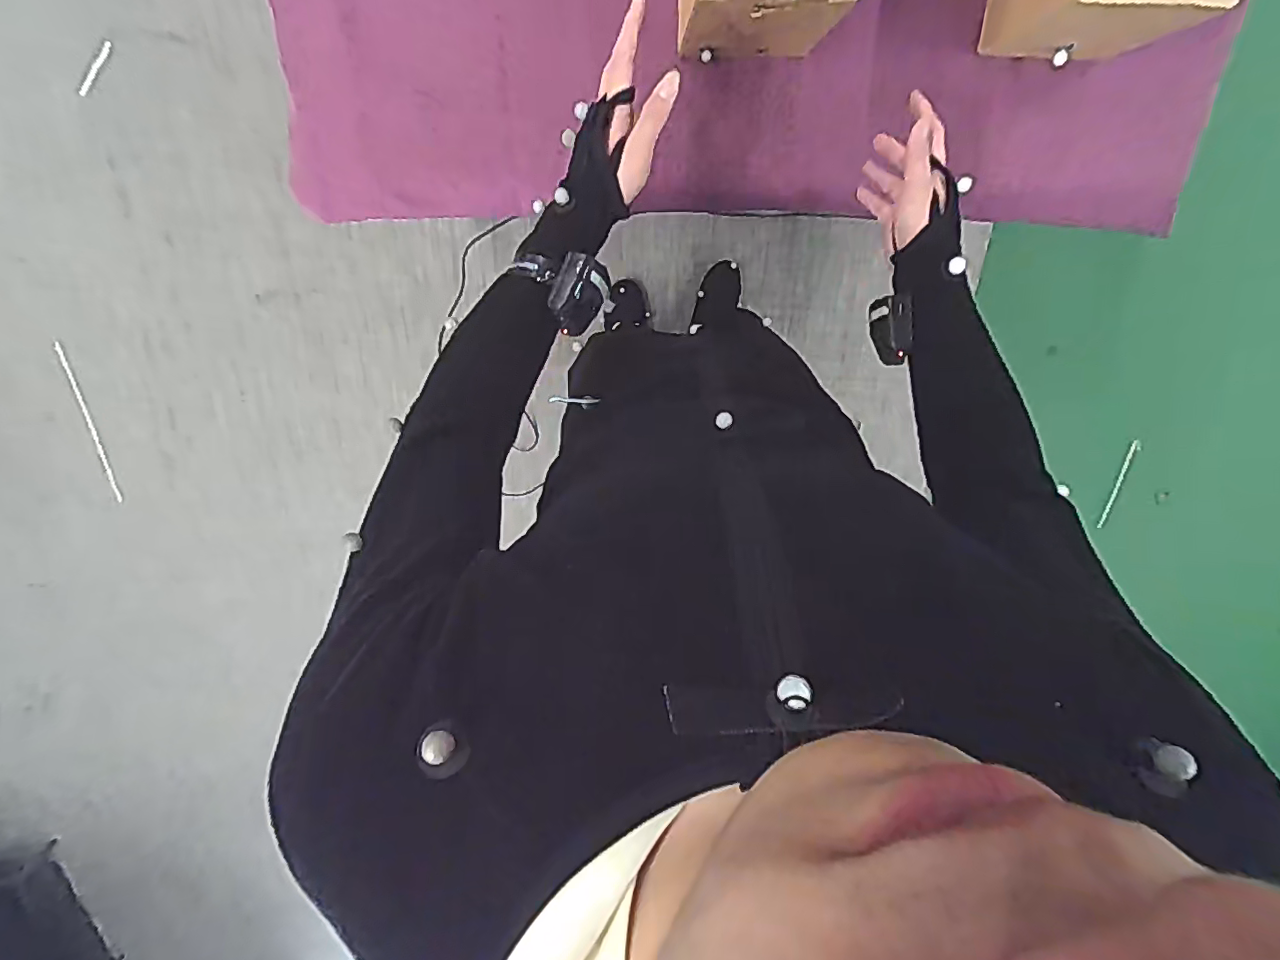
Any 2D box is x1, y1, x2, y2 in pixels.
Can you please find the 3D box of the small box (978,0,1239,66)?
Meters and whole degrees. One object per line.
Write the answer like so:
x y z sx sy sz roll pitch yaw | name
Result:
0.525 -0.584 0.597 0.179 0.176 0.168 0 112 -3 | small box

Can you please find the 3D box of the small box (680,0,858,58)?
0.135 -0.580 0.577 0.168 0.176 0.179 -2 112 -3 | small box

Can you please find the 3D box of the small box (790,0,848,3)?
0.143 -0.515 0.428 0.179 0.176 0.168 -2 113 -4 | small box
